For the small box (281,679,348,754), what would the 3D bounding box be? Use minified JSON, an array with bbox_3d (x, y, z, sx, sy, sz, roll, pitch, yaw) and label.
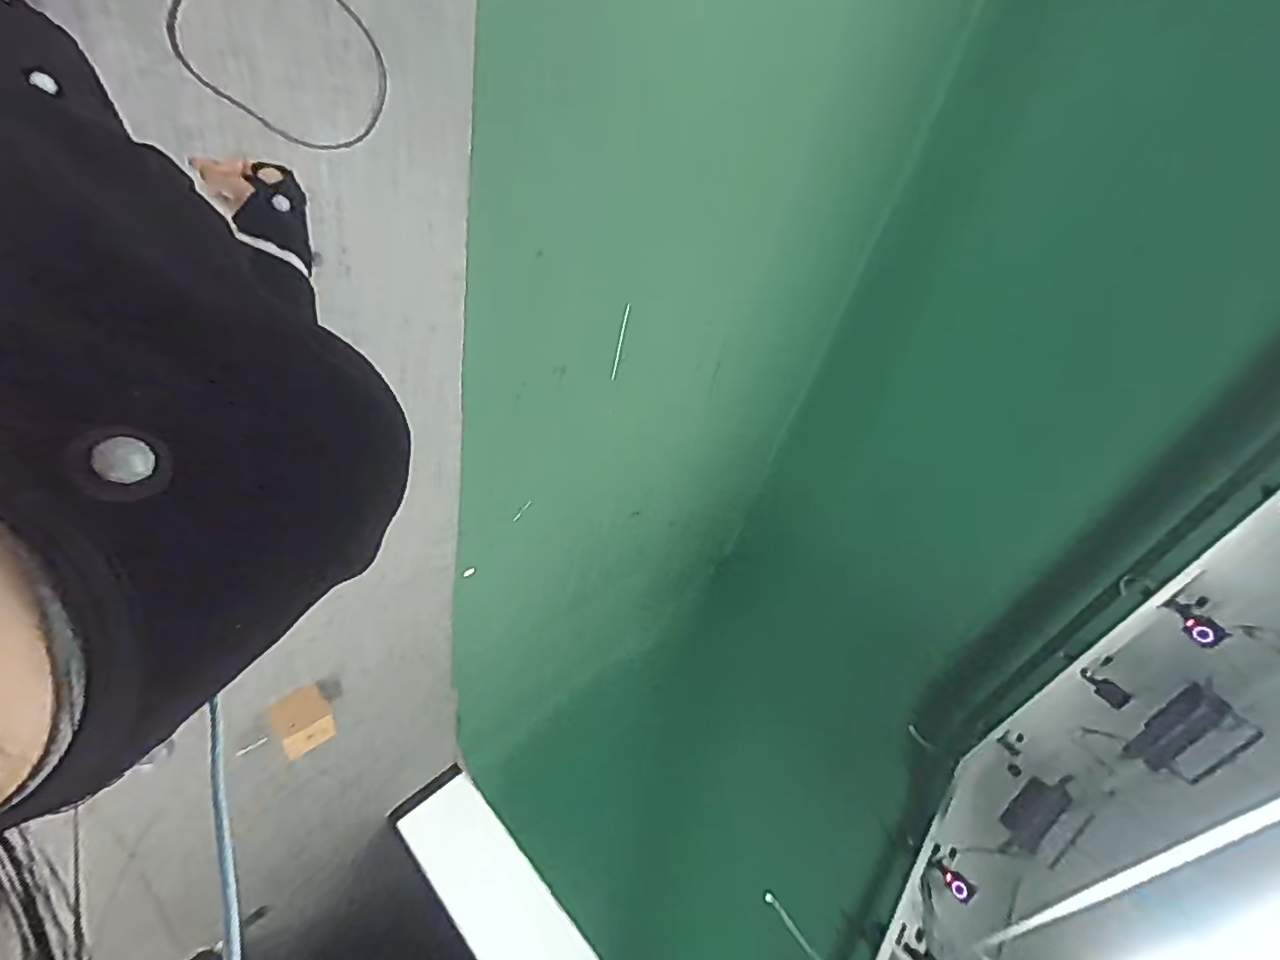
[{"bbox_3d":[-1.301,0.936,2.154,0.179,0.176,0.168,-27,143,-42],"label":"small box"}]
